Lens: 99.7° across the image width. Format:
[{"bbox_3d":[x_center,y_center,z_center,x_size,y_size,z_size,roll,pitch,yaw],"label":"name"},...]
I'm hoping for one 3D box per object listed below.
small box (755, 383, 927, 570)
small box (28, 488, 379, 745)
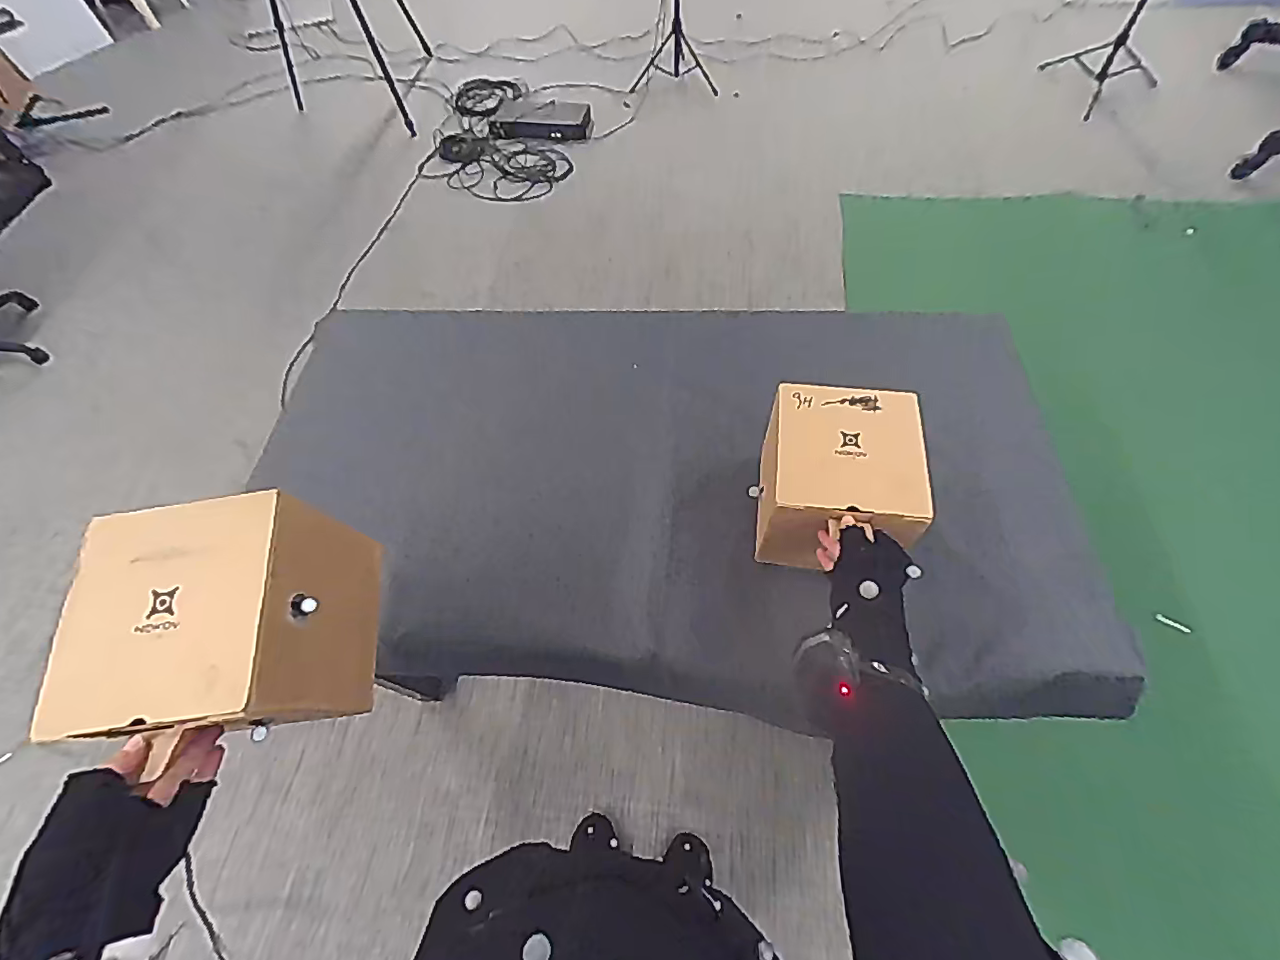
[{"bbox_3d":[0.242,0.002,0.689,0.168,0.176,0.179,7,61,6],"label":"small box"},{"bbox_3d":[-0.358,0.127,0.487,0.168,0.176,0.179,-9,66,1],"label":"small box"}]
